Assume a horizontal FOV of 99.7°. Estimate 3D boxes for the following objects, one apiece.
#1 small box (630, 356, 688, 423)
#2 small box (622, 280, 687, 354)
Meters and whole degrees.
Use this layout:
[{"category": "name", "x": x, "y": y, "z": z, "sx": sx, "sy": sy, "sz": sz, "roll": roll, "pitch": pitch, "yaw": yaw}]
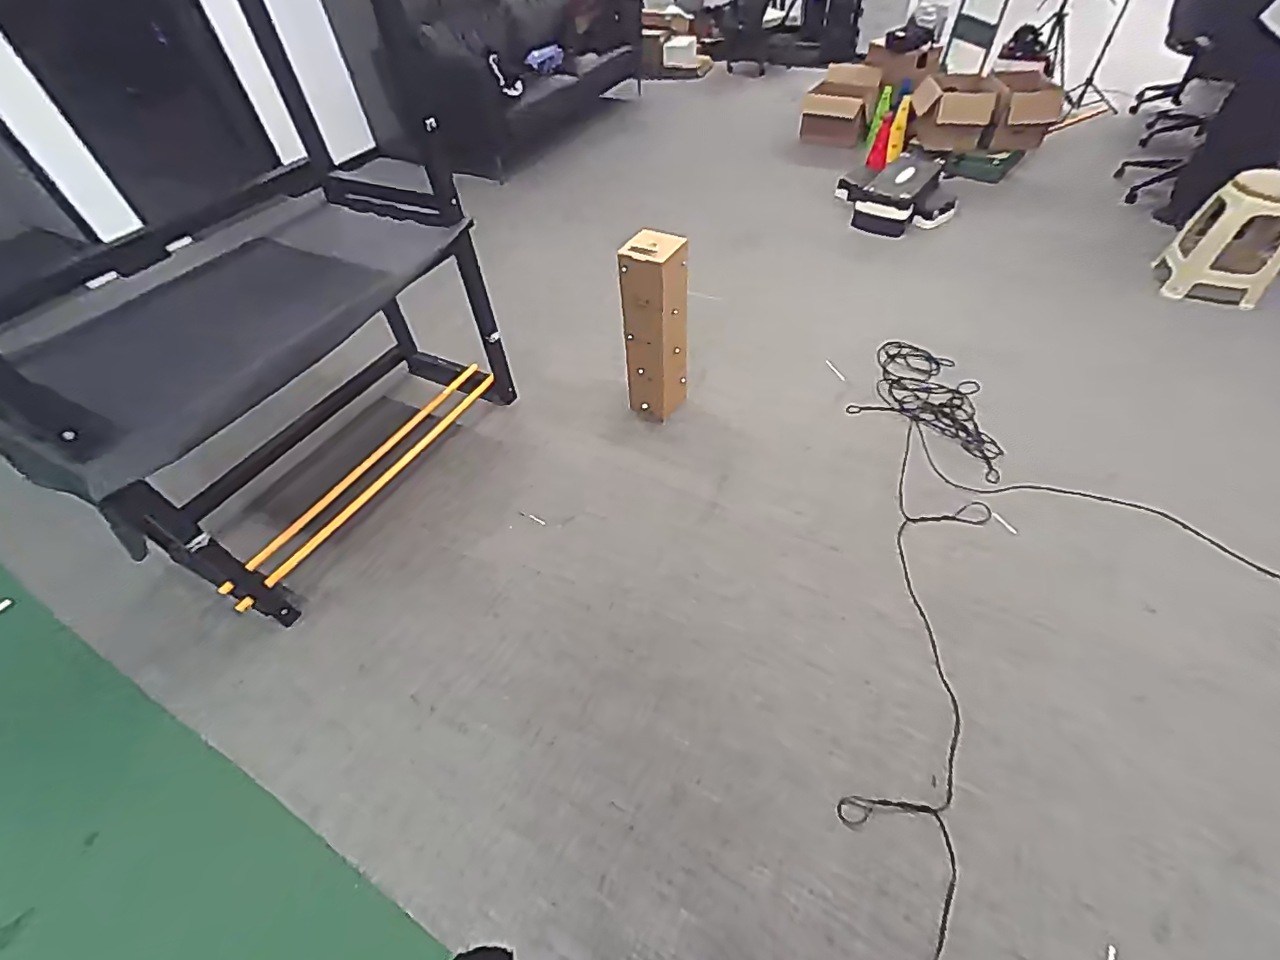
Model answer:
[{"category": "small box", "x": 0.076, "y": -0.359, "z": 2.154, "sx": 0.168, "sy": 0.176, "sz": 0.179, "roll": 25, "pitch": 56, "yaw": 24}, {"category": "small box", "x": 0.056, "y": -0.572, "z": 1.908, "sx": 0.168, "sy": 0.176, "sz": 0.179, "roll": 24, "pitch": 55, "yaw": 22}]
